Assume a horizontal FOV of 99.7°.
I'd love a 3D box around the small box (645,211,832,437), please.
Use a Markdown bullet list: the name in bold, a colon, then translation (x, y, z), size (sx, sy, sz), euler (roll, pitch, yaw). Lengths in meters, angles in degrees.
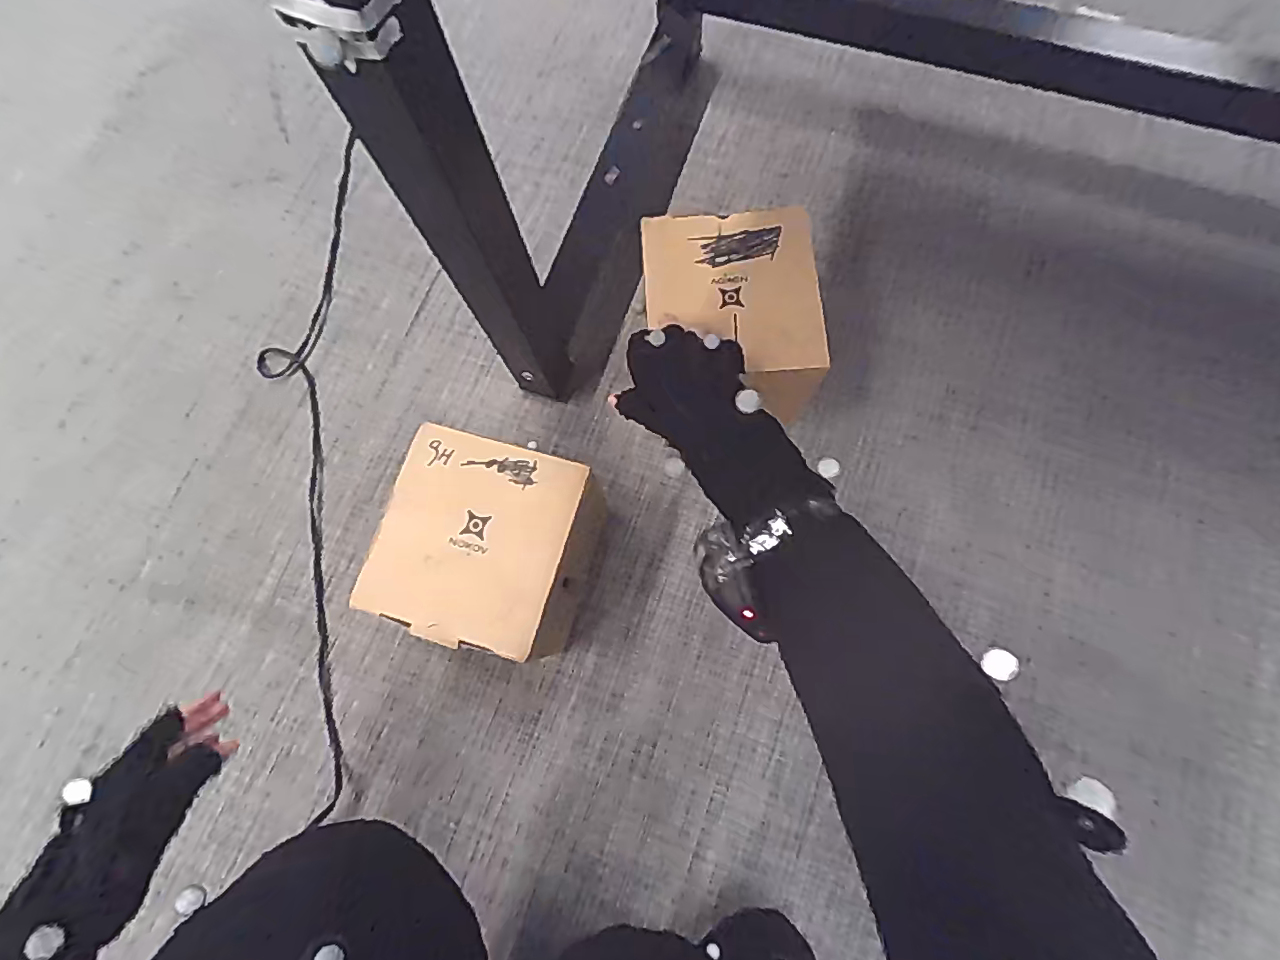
- **small box**: translation (0.092, -0.160, 0.596), size (0.168, 0.176, 0.179), euler (-5, 76, 1)
